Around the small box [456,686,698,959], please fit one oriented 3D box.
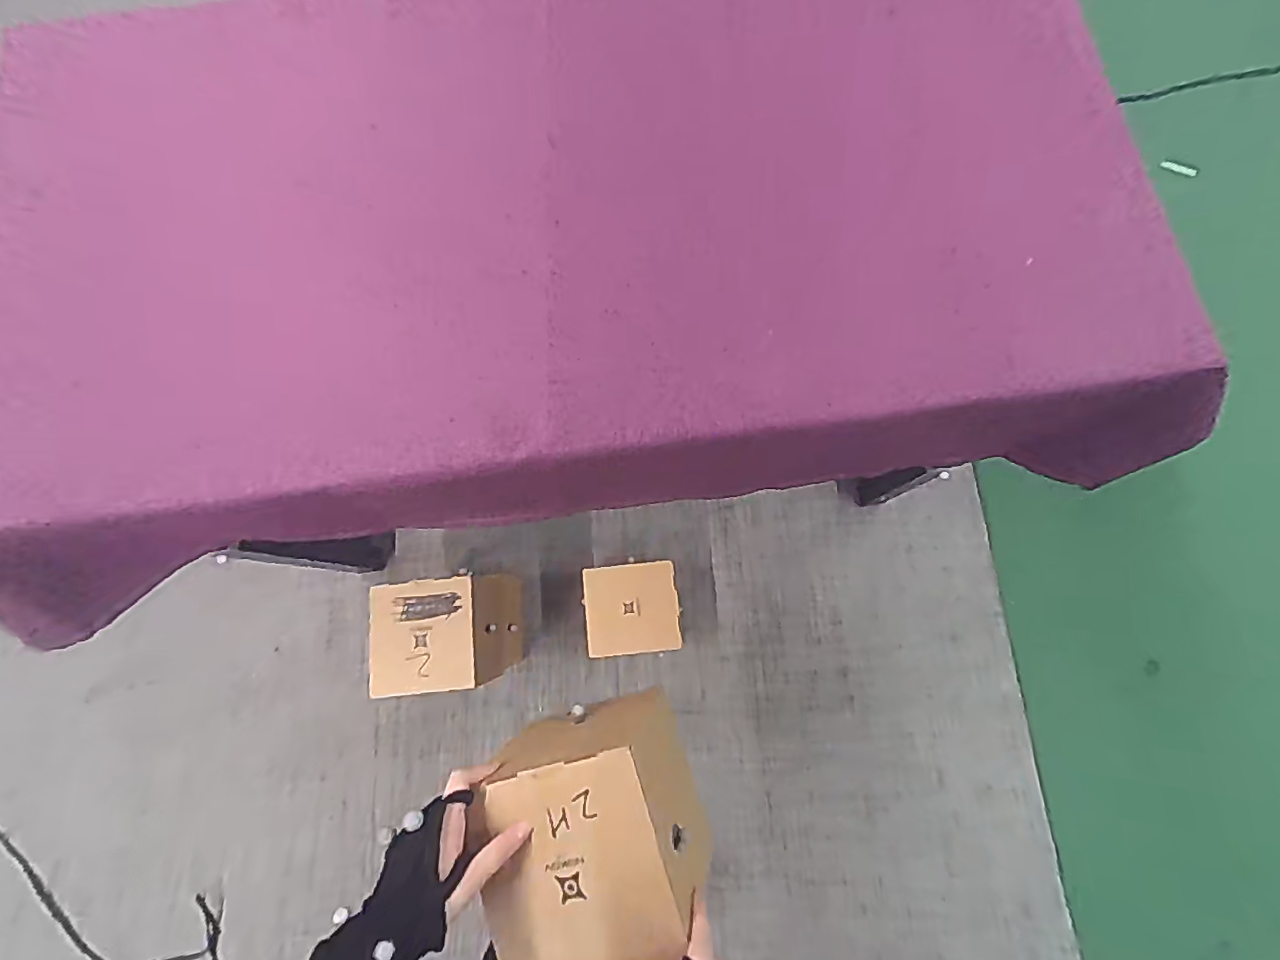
[{"bbox_3d":[-0.048,0.331,0.537,0.168,0.176,0.179,-18,82,10],"label":"small box"}]
